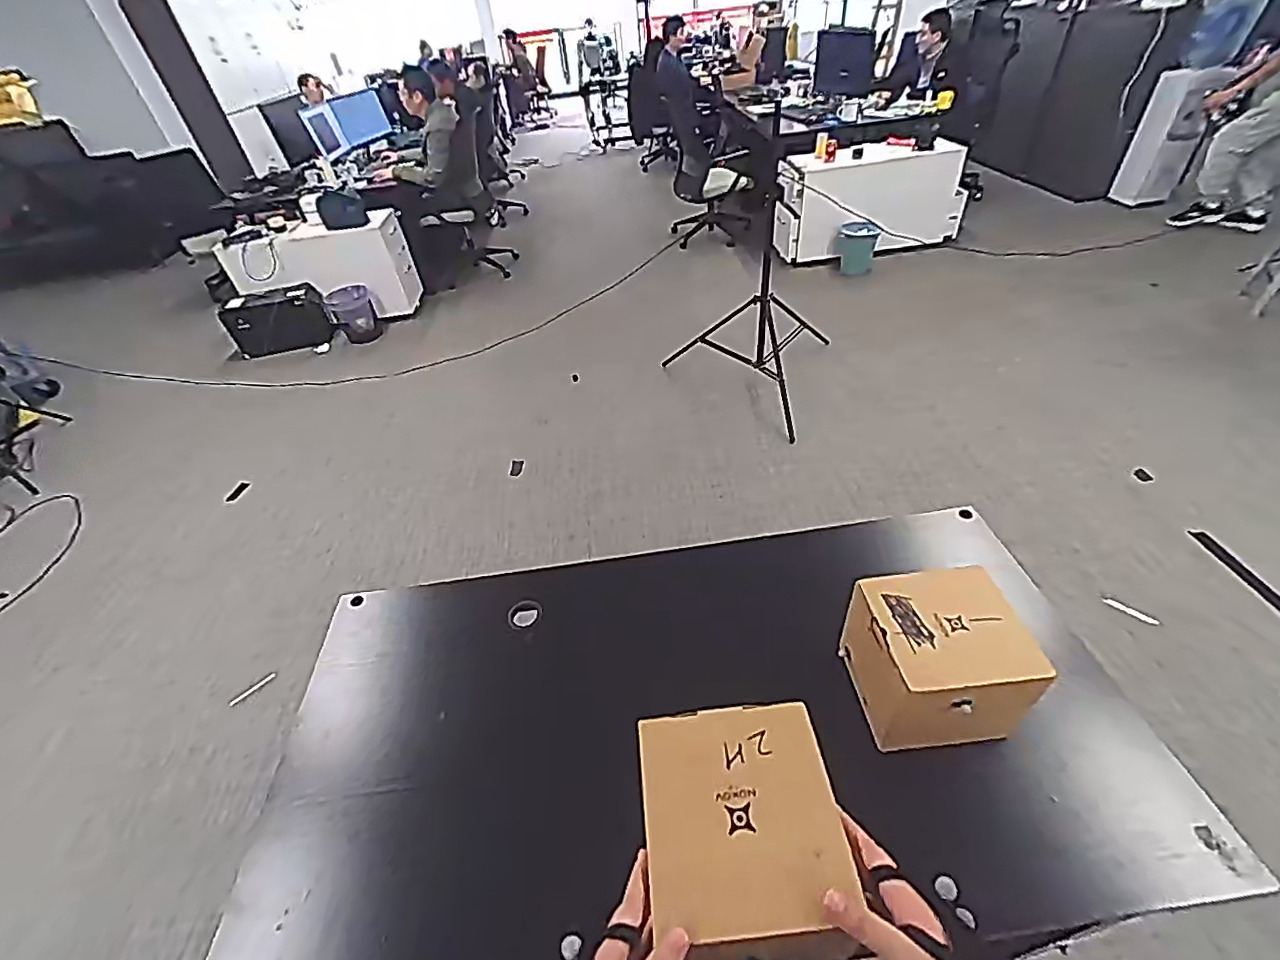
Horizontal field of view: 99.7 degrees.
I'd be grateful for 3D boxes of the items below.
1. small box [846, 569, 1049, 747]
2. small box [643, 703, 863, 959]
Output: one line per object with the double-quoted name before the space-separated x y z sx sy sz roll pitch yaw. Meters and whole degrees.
"small box" 0.397 0.247 0.742 0.179 0.176 0.168 -6 42 1
"small box" 0.095 0.347 0.526 0.168 0.176 0.179 -6 40 1
